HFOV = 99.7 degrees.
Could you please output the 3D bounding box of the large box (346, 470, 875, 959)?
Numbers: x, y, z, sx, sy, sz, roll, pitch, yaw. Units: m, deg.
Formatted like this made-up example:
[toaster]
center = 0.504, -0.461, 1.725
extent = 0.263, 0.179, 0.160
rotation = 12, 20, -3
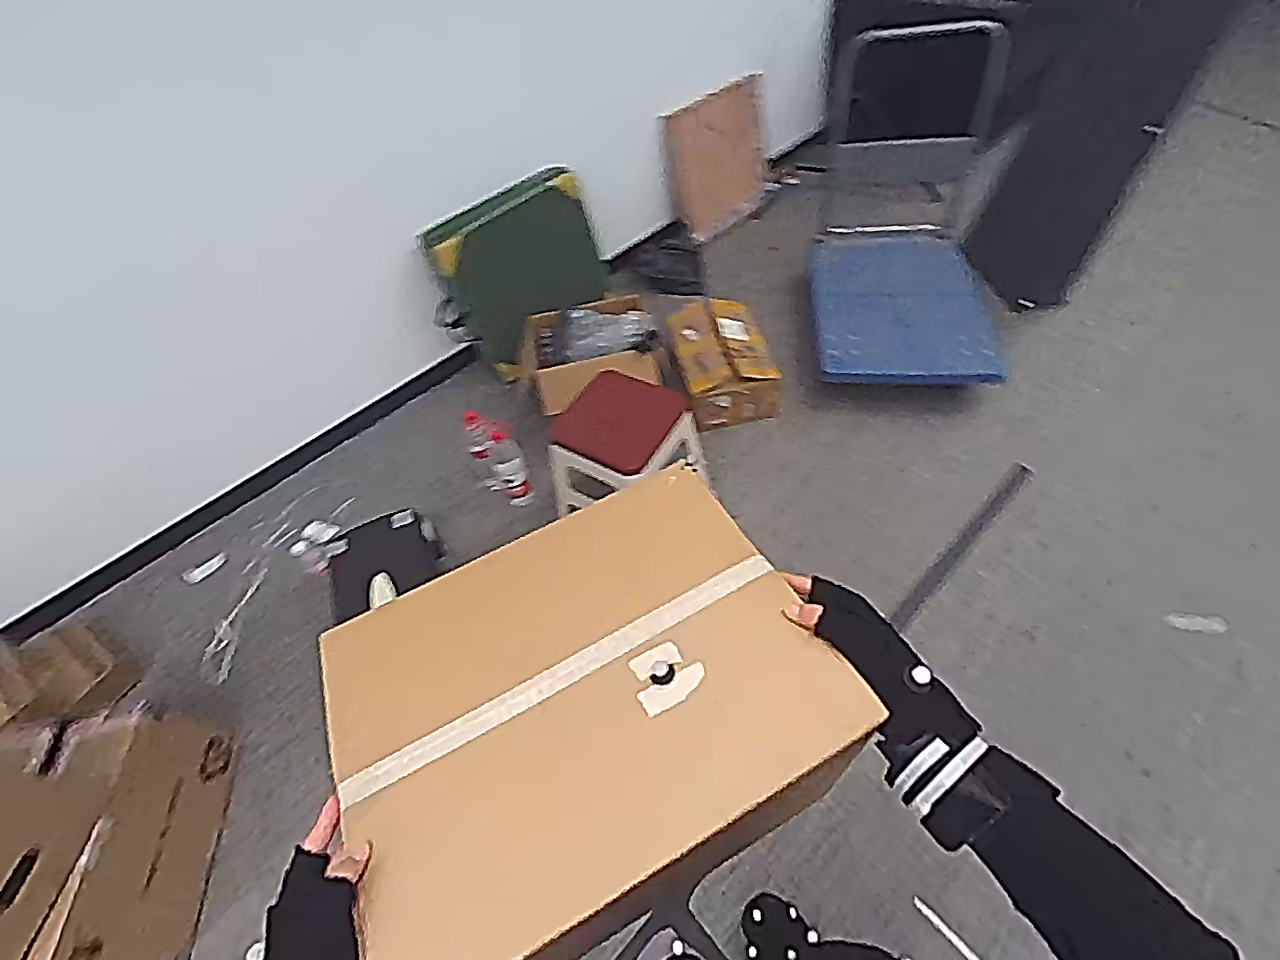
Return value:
[large box]
center = -0.032, 0.264, 0.594
extent = 0.408, 0.320, 0.320
rotation = -25, 51, -12
